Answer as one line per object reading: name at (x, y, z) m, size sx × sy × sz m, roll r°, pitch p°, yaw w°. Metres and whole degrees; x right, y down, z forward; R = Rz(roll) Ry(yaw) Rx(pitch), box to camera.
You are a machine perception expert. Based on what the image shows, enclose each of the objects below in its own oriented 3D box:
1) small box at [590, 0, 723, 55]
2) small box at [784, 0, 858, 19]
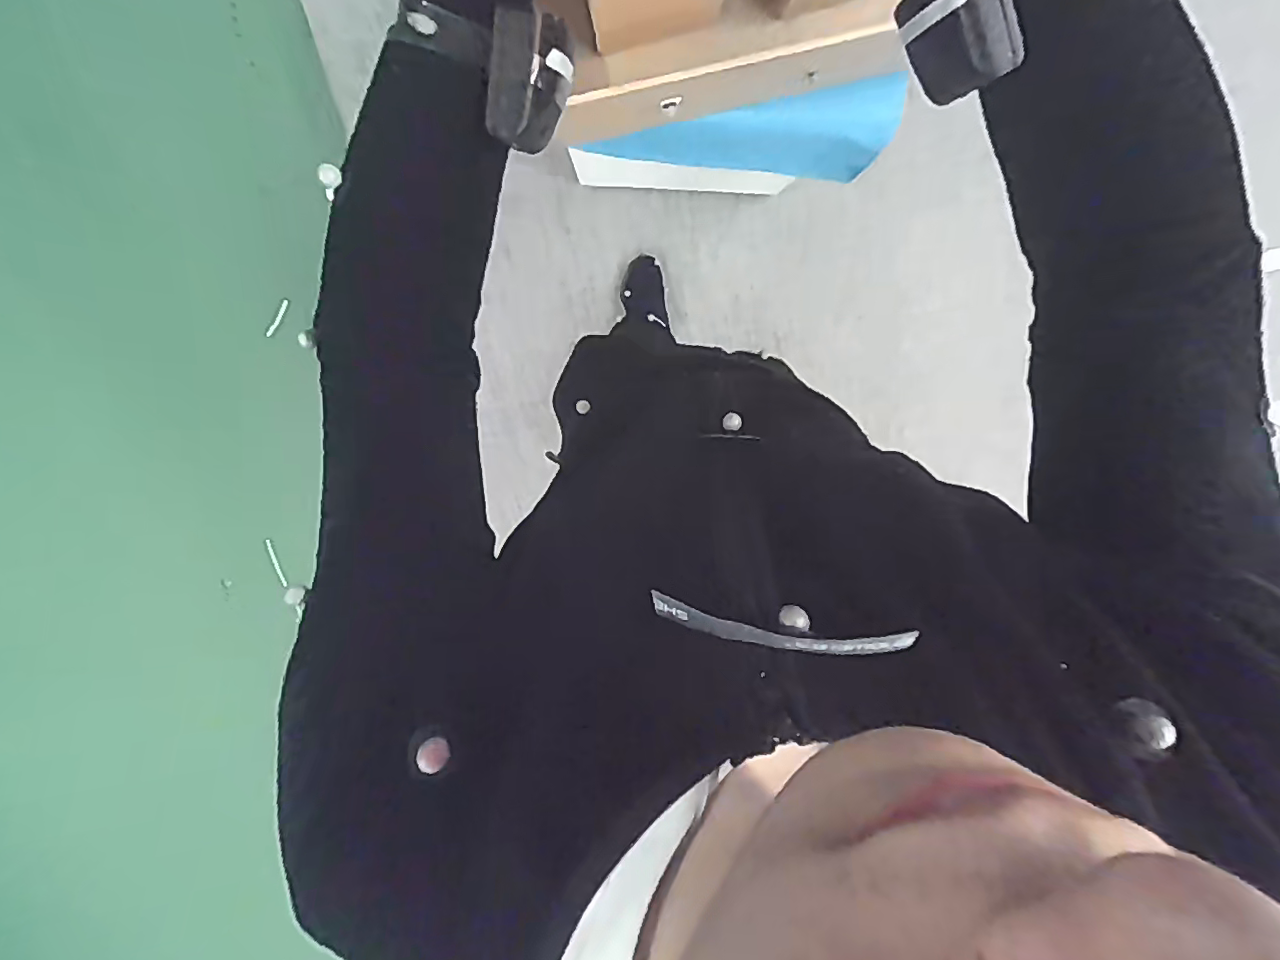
small box at (0.013, -0.678, 0.678) m, size 0.179 × 0.176 × 0.168 m, roll -13°, pitch 105°, yaw 1°
small box at (0.267, -0.722, 0.664) m, size 0.179 × 0.176 × 0.168 m, roll -14°, pitch 106°, yaw 6°
